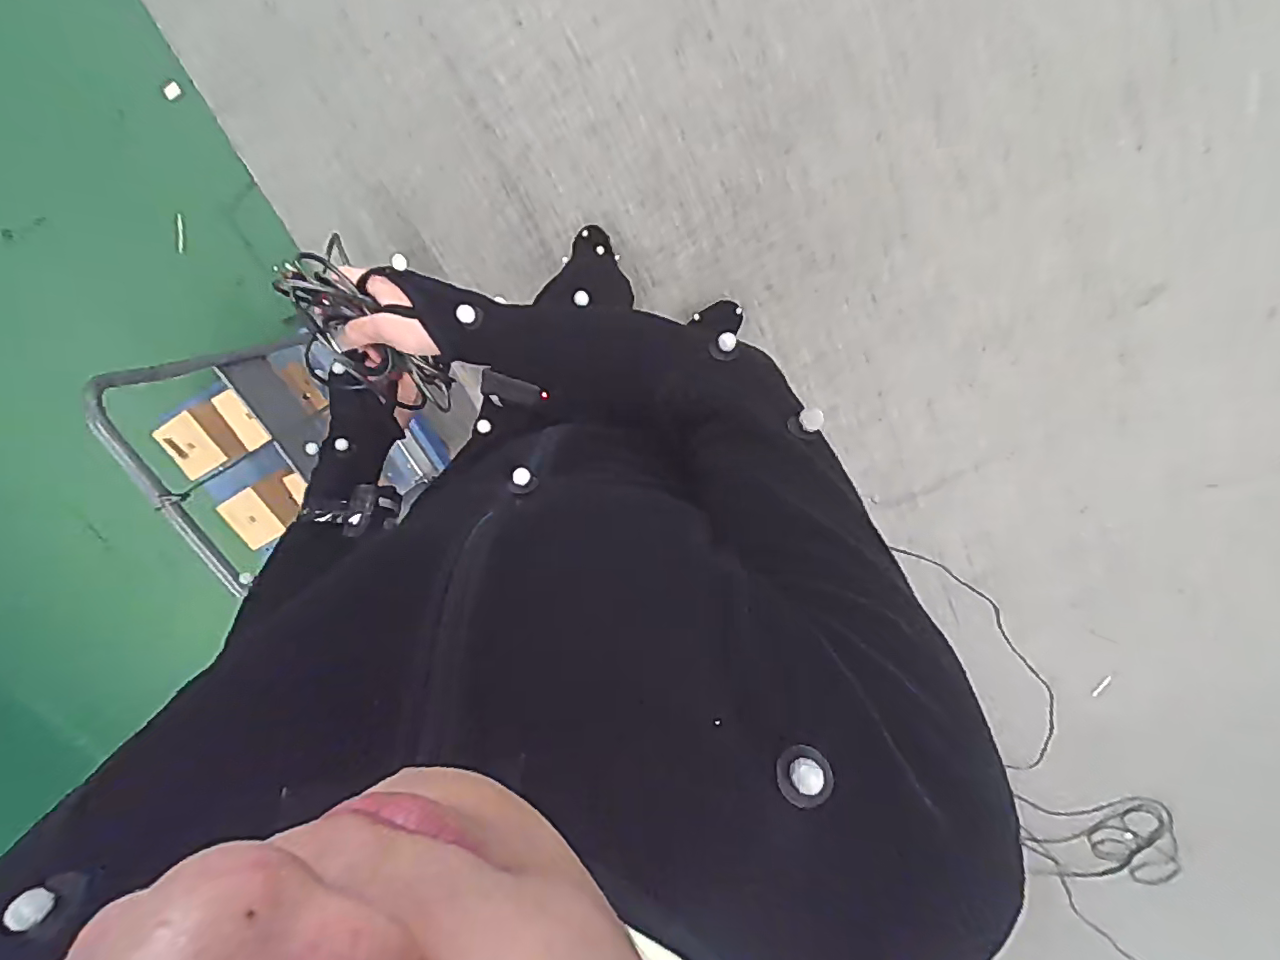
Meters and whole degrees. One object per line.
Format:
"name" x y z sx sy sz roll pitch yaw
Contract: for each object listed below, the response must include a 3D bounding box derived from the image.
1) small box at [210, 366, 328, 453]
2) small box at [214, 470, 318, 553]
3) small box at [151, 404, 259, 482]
"small box" -1.027 -0.201 1.512 0.179 0.176 0.168 -19 110 19
"small box" -1.144 0.092 1.674 0.179 0.176 0.168 -24 108 21
"small box" -1.263 -0.122 1.596 0.179 0.176 0.168 -22 109 19
